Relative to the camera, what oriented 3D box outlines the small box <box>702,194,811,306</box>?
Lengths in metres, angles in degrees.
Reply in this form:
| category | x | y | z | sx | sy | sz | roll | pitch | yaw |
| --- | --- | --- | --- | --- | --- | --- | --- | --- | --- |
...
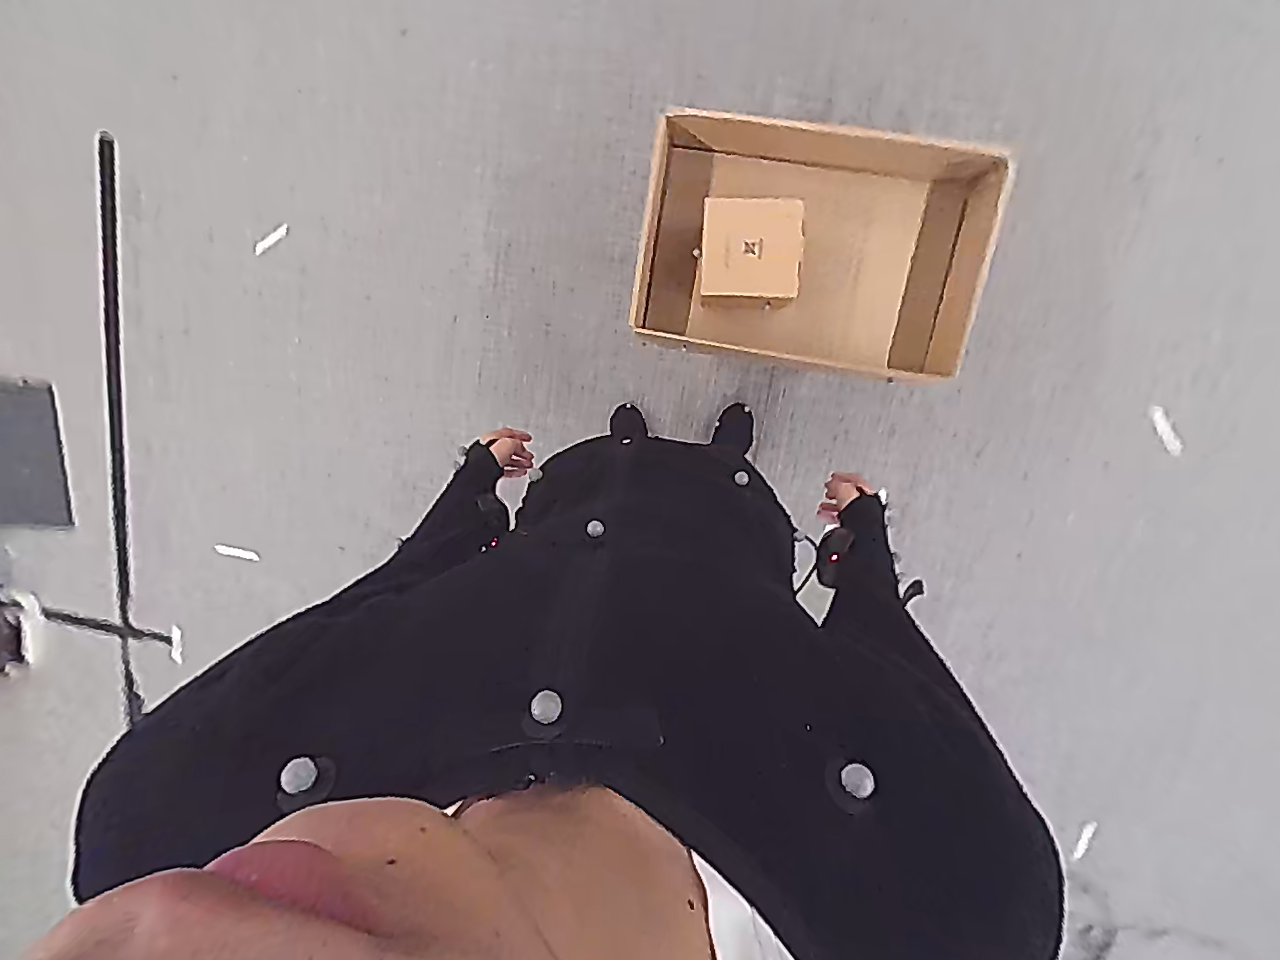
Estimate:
| category | x | y | z | sx | sy | sz | roll | pitch | yaw |
| --- | --- | --- | --- | --- | --- | --- | --- | --- | --- |
| small box | 0.212 | -0.431 | 1.033 | 0.179 | 0.176 | 0.168 | 4 | 101 | 5 |
